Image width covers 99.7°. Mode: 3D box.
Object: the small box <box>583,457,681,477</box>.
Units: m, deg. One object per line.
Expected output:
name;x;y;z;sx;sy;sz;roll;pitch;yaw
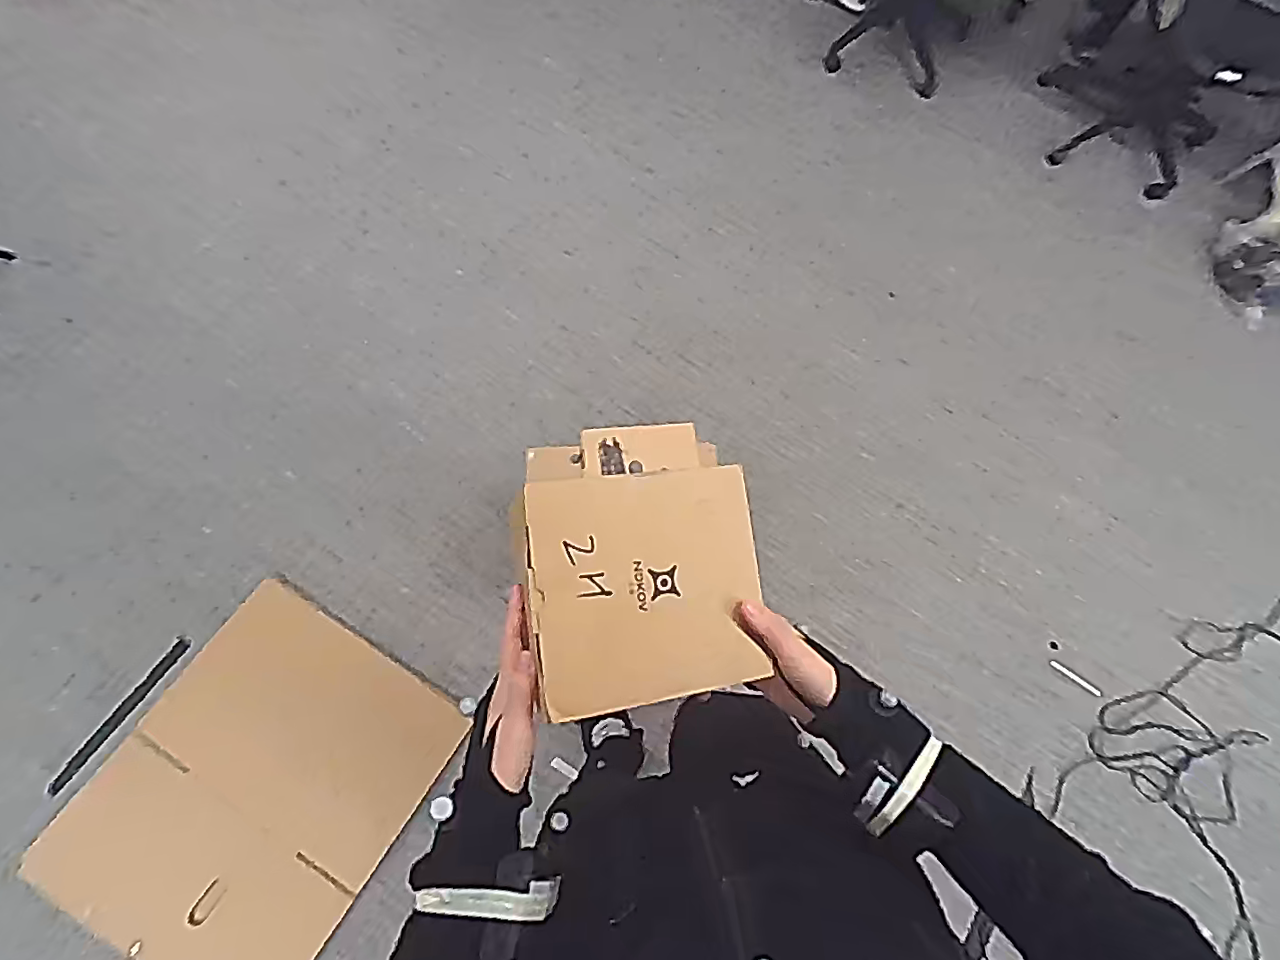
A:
small box;-0.014;0.065;1.027;0.179;0.176;0.168;-5;75;-8

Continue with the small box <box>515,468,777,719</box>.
small box;-0.009;0.086;0.470;0.179;0.176;0.168;-5;82;-17
